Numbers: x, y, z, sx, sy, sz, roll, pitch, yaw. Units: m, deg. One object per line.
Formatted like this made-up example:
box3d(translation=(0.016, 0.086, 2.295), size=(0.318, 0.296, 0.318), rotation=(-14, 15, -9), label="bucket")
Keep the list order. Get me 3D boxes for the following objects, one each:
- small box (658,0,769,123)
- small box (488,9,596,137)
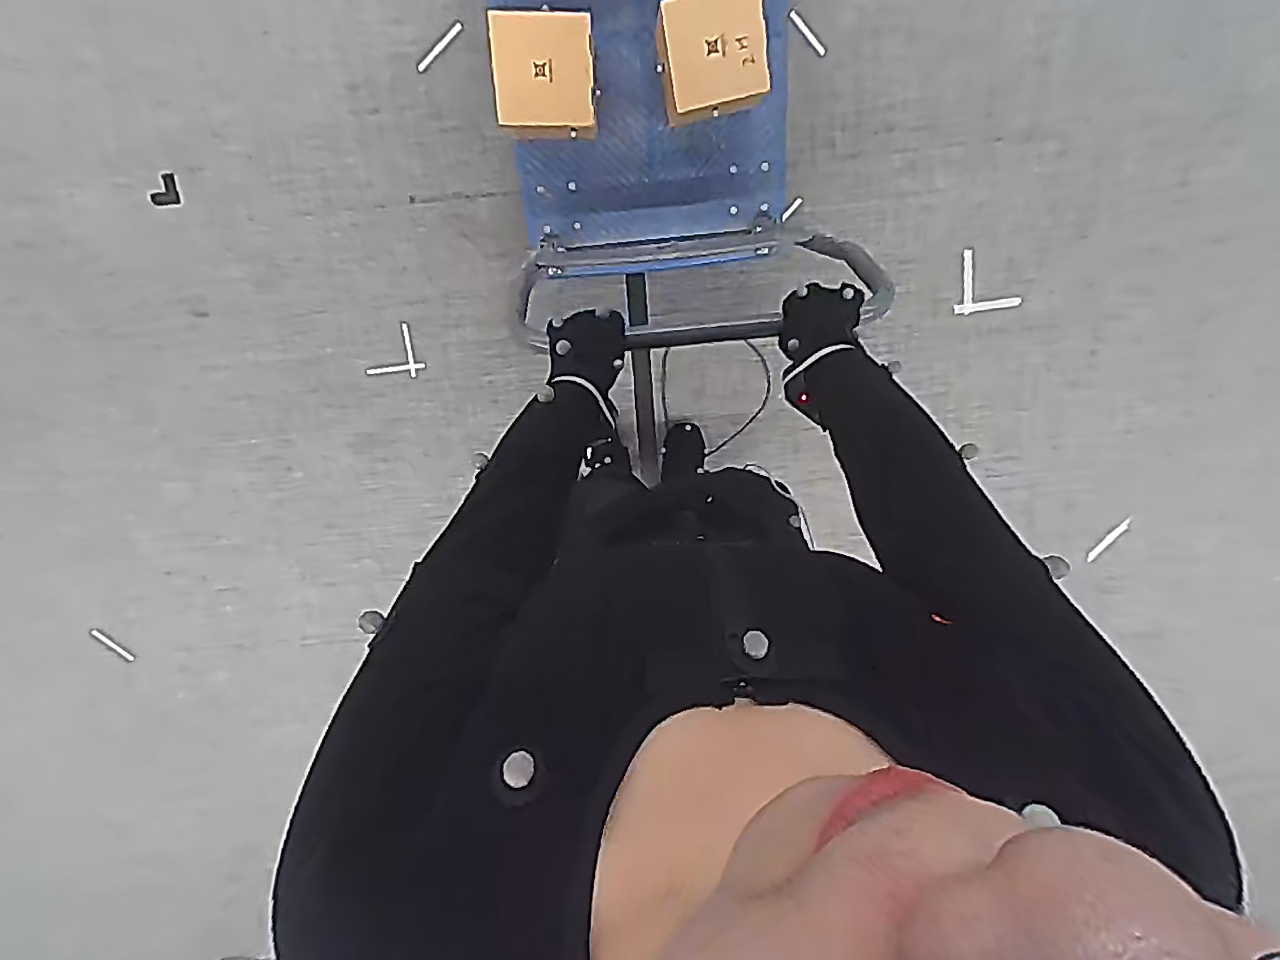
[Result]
box3d(translation=(0.131, -0.791, 1.014), size=(0.179, 0.176, 0.168), rotation=(-11, 116, 3), label="small box")
box3d(translation=(-0.175, -0.755, 1.020), size=(0.179, 0.176, 0.168), rotation=(-2, 116, -3), label="small box")
